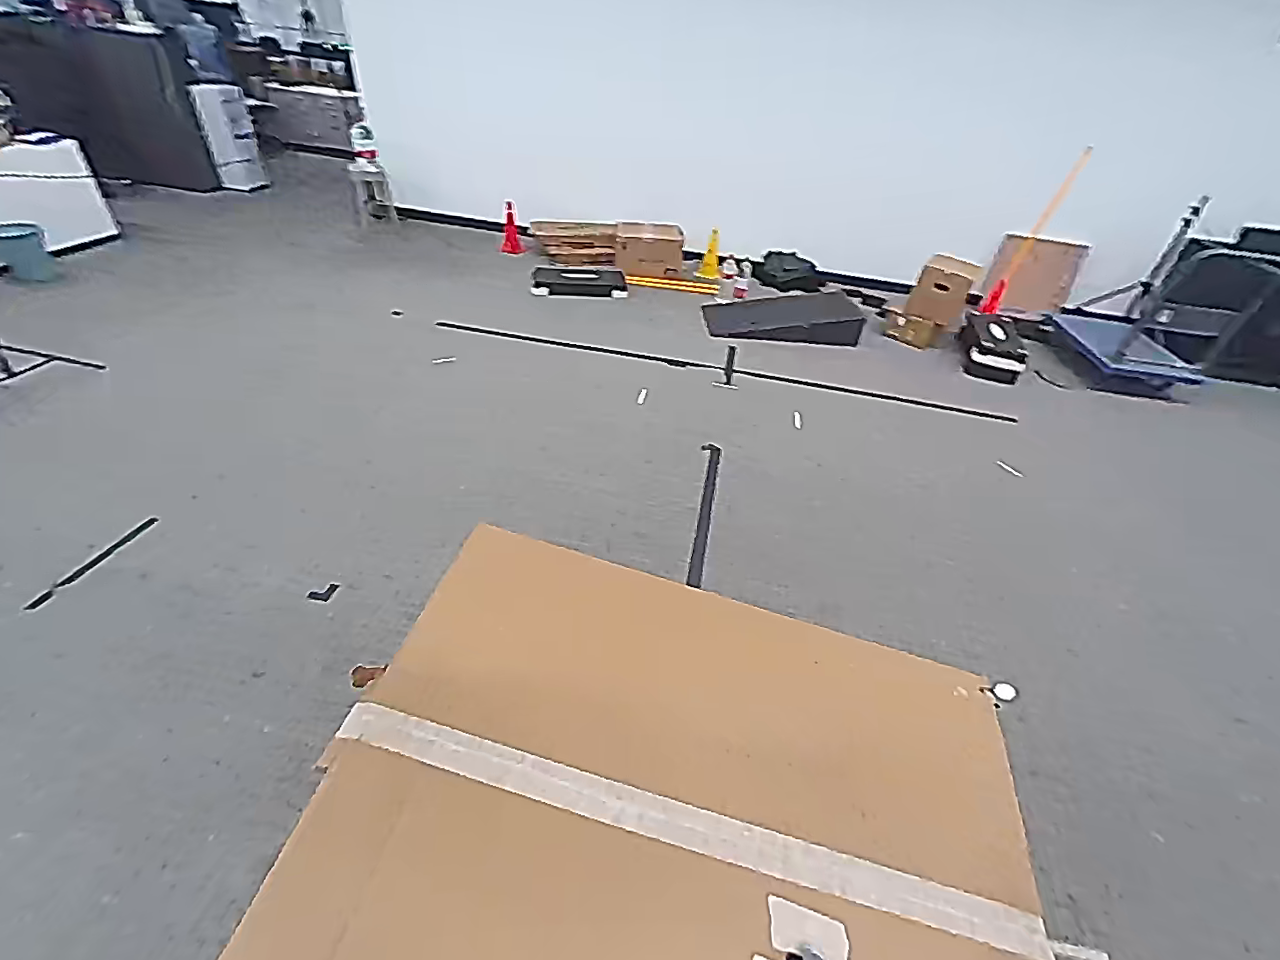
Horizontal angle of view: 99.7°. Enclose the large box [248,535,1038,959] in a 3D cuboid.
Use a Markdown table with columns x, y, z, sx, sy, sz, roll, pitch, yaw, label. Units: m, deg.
| x | y | z | sx | sy | sz | roll | pitch | yaw | label |
| --- | --- | --- | --- | --- | --- | --- | --- | --- | --- |
| 0.005 | 0.300 | 0.424 | 0.408 | 0.320 | 0.320 | 17 | 47 | 2 | large box |
